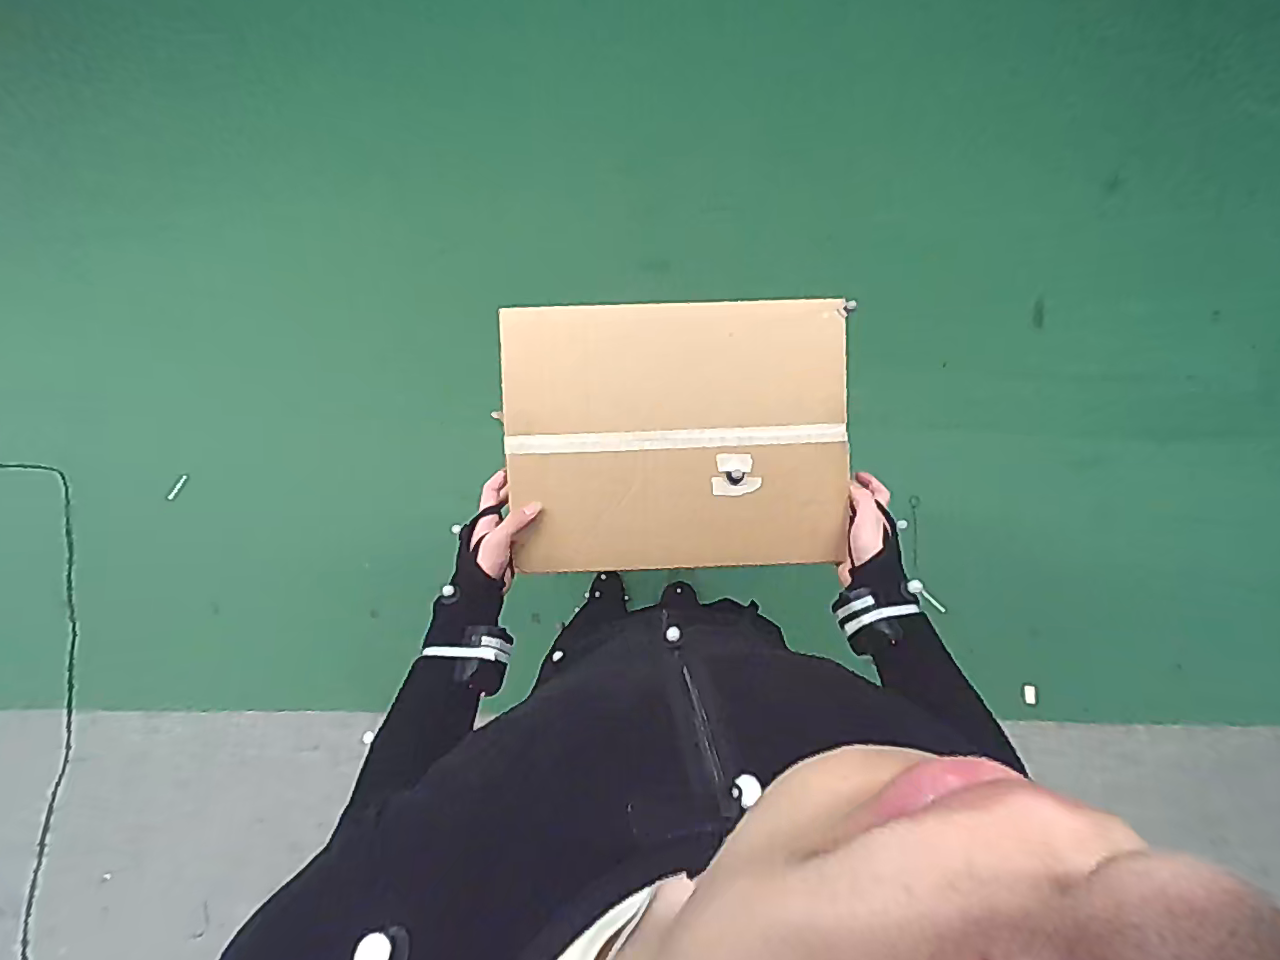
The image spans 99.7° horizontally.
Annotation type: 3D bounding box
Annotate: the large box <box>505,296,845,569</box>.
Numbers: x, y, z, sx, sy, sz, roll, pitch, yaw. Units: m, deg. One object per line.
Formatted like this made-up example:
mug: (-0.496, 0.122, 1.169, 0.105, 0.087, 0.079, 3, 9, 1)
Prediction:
large box: (0.041, -0.064, 0.797, 0.408, 0.320, 0.320, -3, 94, -2)
